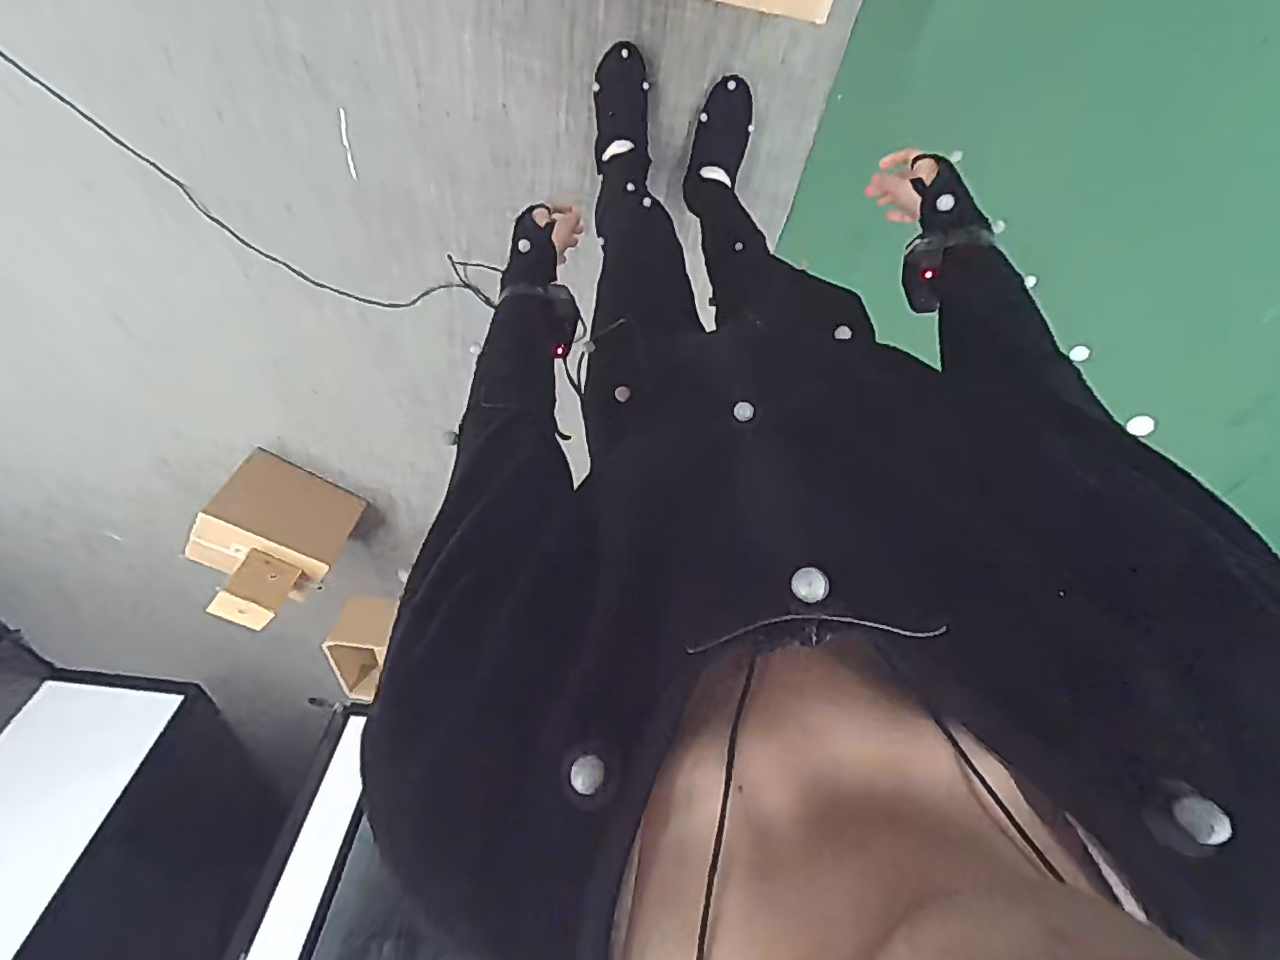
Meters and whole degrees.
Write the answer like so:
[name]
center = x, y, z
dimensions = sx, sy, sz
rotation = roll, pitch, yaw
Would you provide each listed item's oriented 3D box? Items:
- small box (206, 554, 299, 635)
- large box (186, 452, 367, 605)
[small box]
center = -1.253, 0.372, 1.759
dimensions = 0.168, 0.176, 0.179
rotation = 37, 127, -26
[large box]
center = -1.264, 0.176, 1.910
dimensions = 0.408, 0.320, 0.320
rotation = 33, 128, -22
